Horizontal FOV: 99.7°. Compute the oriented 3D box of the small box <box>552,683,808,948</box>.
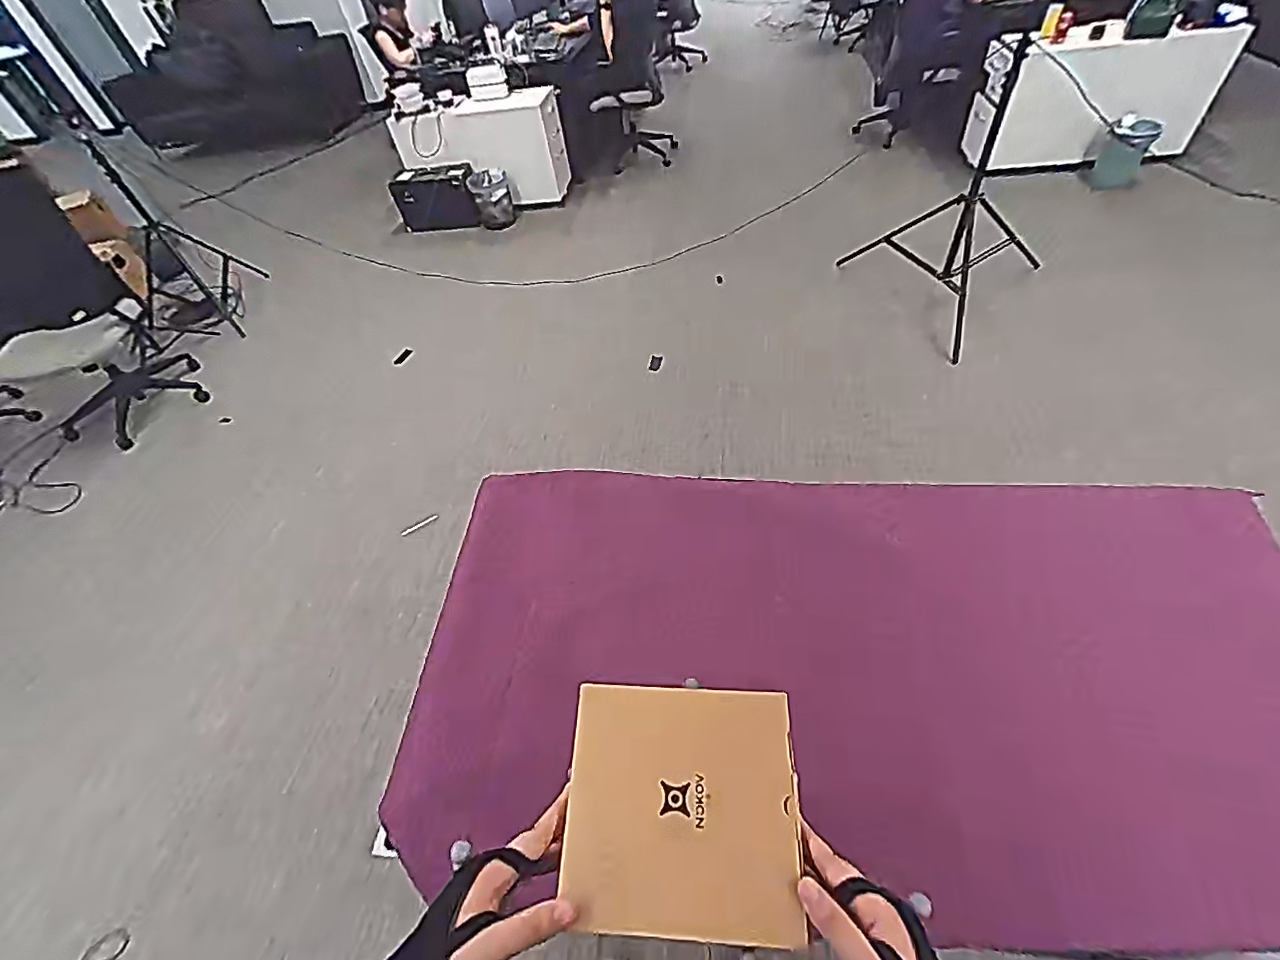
[{"bbox_3d":[0.034,0.288,0.473,0.179,0.176,0.168,1,54,4],"label":"small box"}]
